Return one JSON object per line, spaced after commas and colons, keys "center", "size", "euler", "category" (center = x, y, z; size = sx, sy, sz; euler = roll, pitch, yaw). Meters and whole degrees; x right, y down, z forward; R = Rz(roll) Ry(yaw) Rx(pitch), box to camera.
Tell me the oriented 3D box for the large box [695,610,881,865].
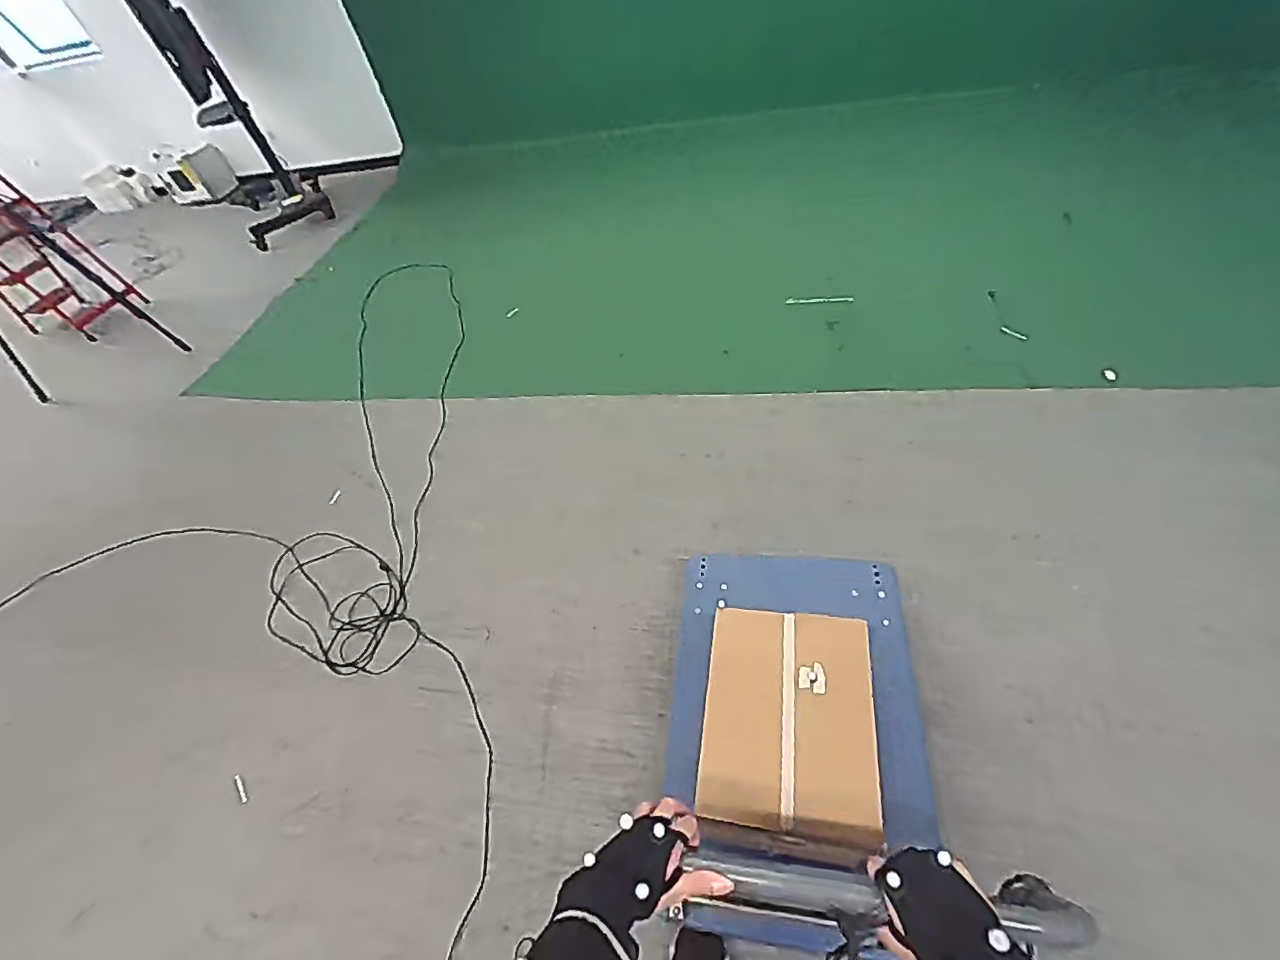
{"center": [0.303, 0.540, 1.148], "size": [0.320, 0.320, 0.408], "euler": [2, 51, 14], "category": "large box"}
